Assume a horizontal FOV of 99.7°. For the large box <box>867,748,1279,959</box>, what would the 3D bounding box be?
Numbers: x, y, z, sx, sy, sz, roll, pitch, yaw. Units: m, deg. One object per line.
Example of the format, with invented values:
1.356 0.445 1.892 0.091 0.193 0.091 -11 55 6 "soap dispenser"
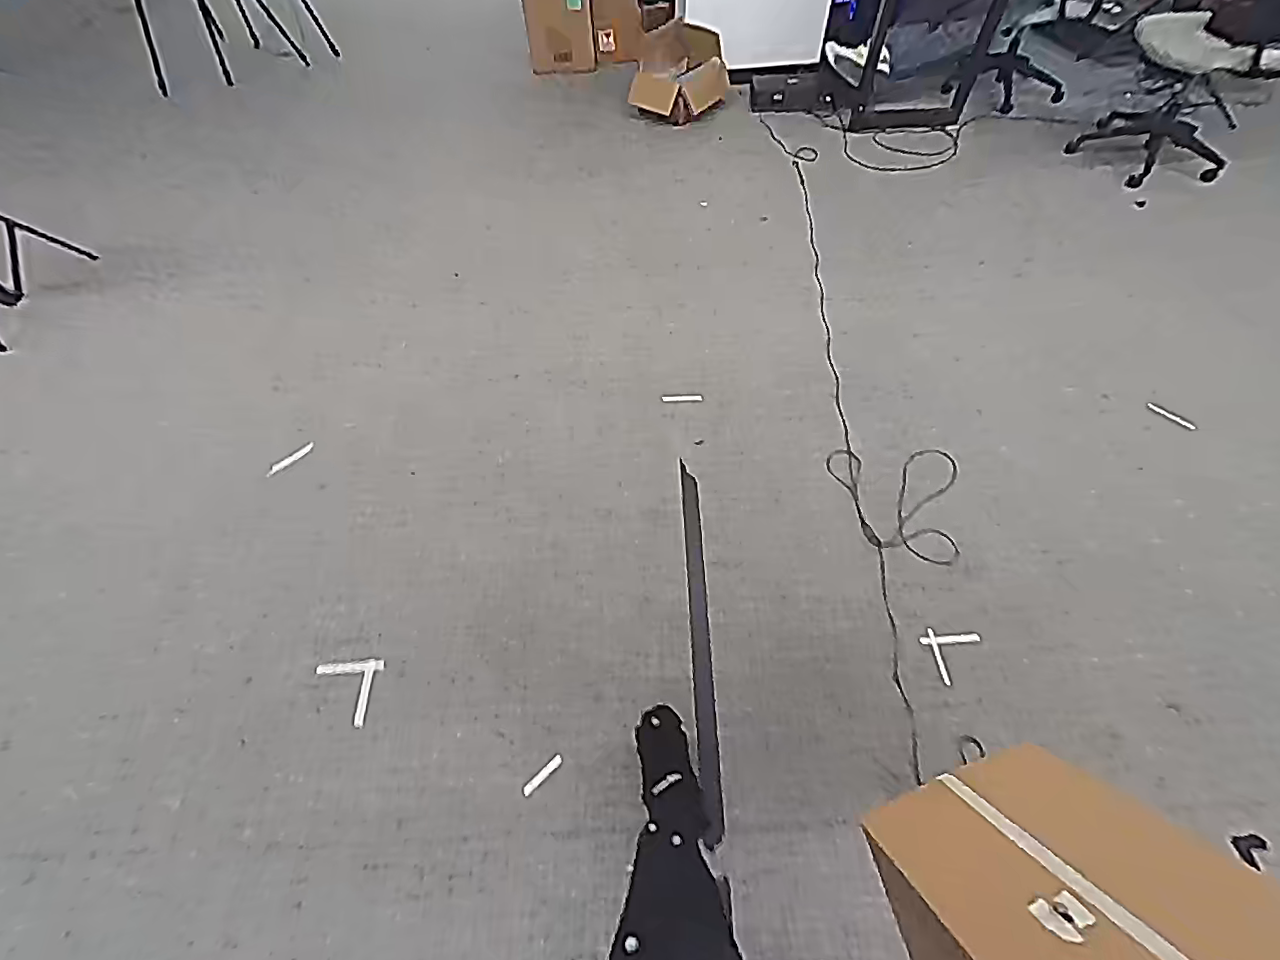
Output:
0.565 0.621 0.668 0.320 0.408 0.320 -21 92 -6 "large box"
